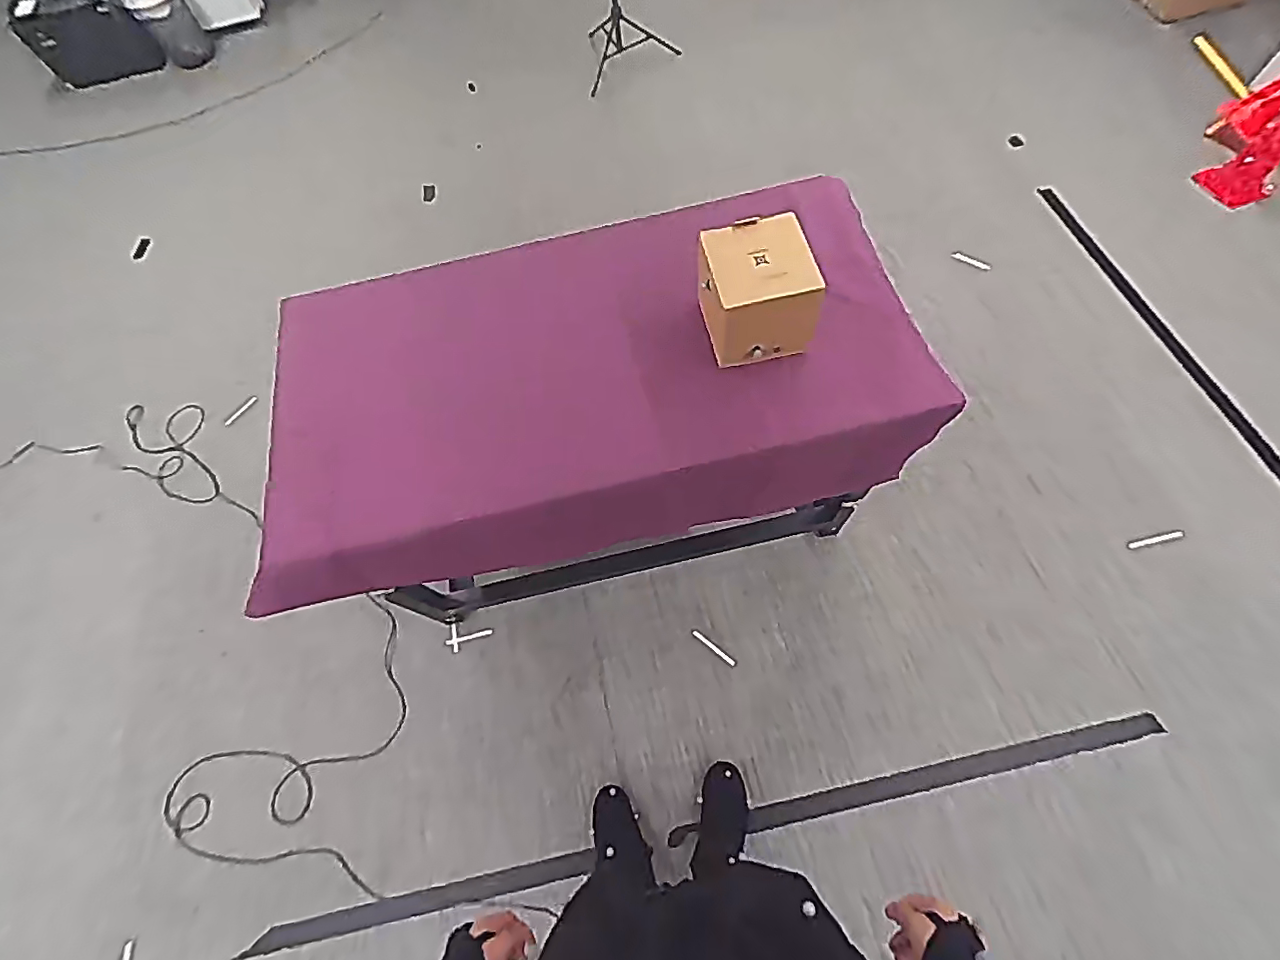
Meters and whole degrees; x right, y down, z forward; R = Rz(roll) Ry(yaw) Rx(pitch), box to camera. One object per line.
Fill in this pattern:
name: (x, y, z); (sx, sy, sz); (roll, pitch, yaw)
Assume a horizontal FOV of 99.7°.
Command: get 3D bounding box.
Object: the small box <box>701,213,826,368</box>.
small box: (0.203, -0.325, 0.944); (0.168, 0.176, 0.179); (-11, 66, 1)
